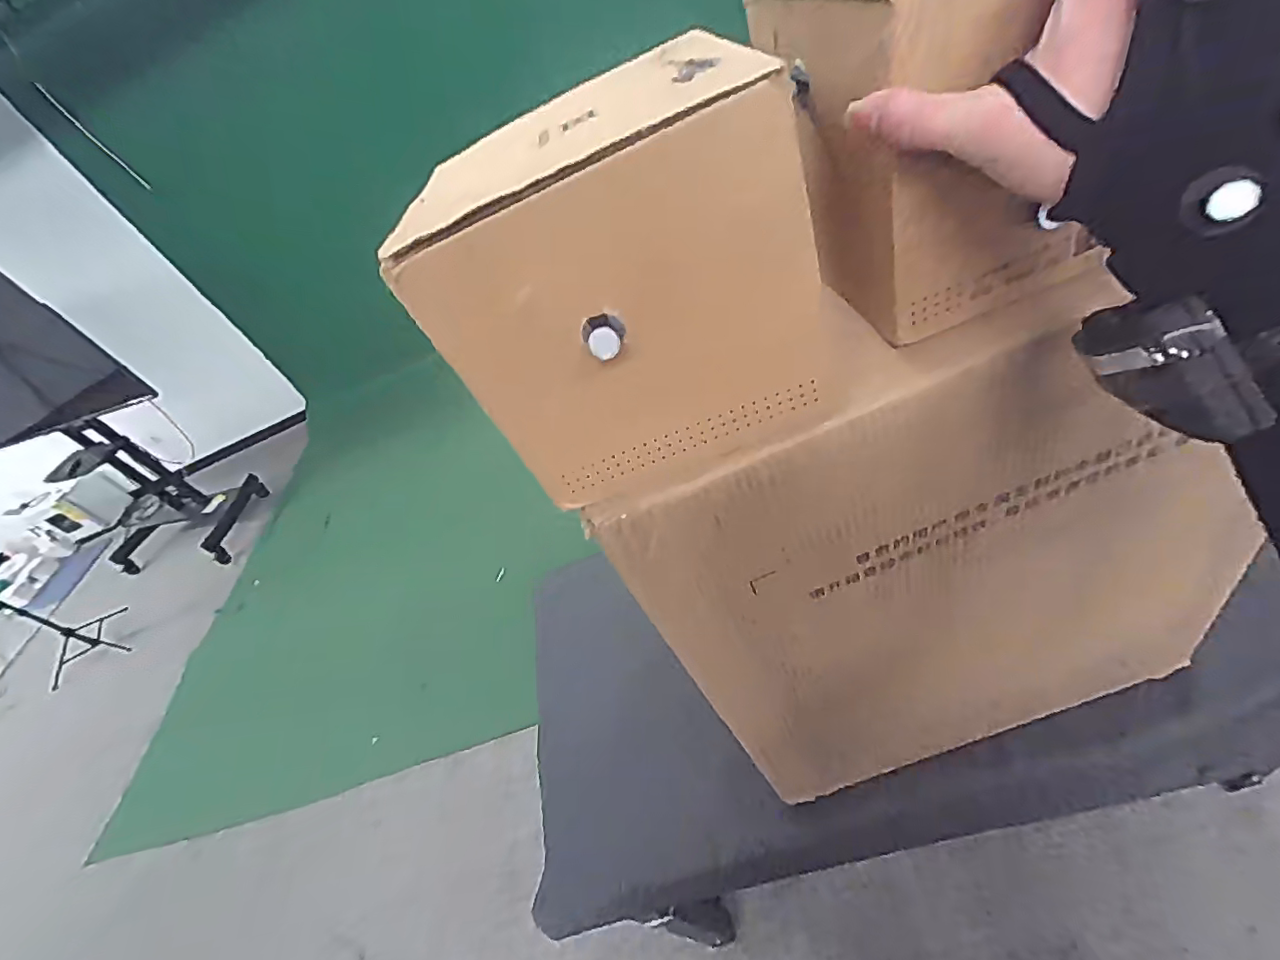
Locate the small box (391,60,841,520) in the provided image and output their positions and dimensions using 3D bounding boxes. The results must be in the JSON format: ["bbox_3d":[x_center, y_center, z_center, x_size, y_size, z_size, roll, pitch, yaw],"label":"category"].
[{"bbox_3d":[-0.003,-0.102,0.317,0.179,0.176,0.168,-20,43,9],"label":"small box"}]
